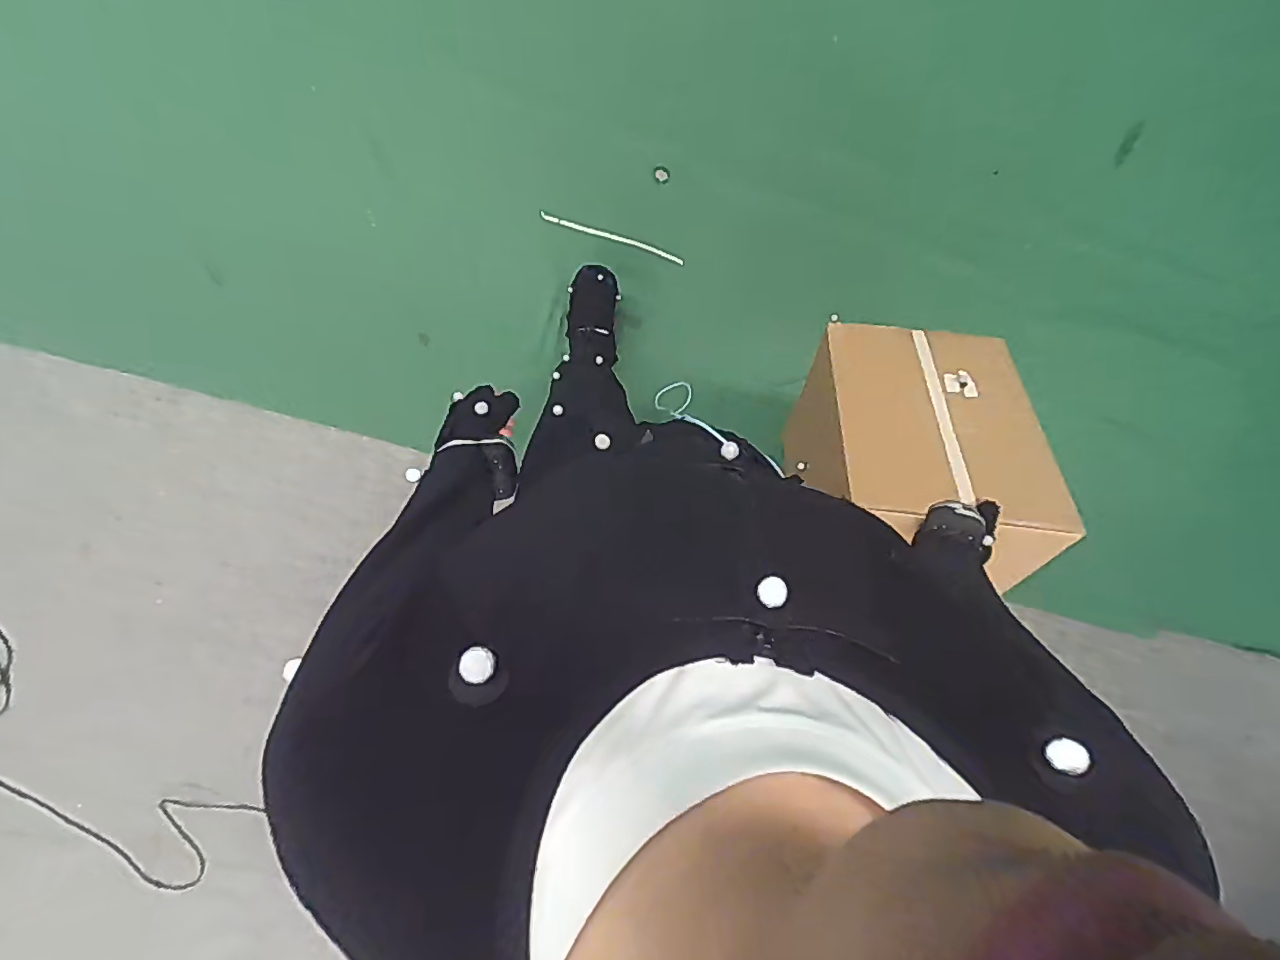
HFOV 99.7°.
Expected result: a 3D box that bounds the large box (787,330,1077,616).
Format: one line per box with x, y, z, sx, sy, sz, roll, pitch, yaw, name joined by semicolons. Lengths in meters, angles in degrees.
0.462;-0.011;0.976;0.320;0.408;0.320;7;143;2;large box
